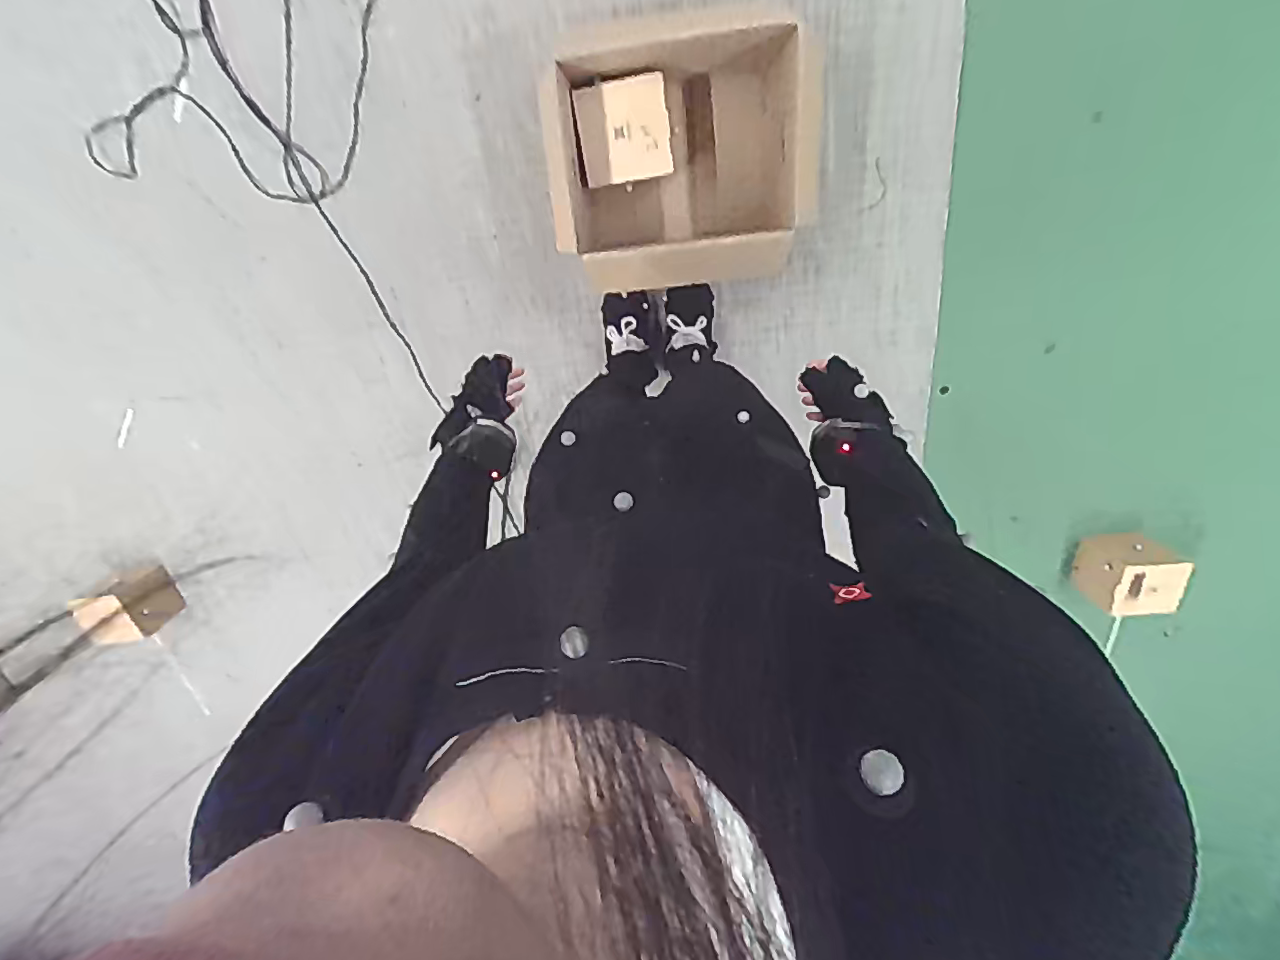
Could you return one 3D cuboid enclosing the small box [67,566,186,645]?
[{"bbox_3d":[-1.585,0.384,1.682,0.168,0.176,0.179,-8,116,5],"label":"small box"}]
